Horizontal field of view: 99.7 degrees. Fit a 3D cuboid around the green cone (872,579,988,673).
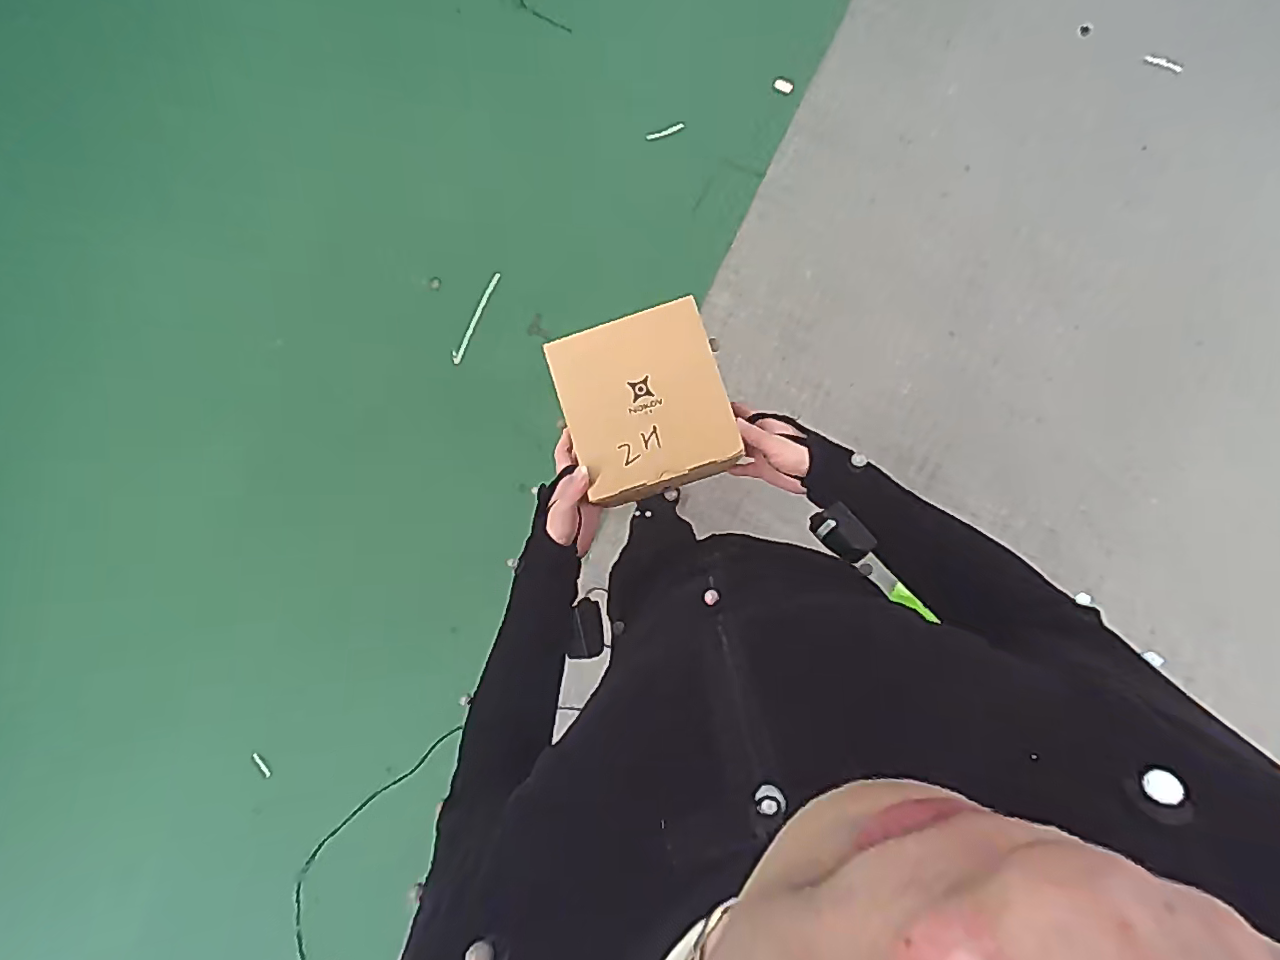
[{"bbox_3d":[0.766,0.403,1.366,0.200,0.368,0.202,27,92,7],"label":"green cone"}]
